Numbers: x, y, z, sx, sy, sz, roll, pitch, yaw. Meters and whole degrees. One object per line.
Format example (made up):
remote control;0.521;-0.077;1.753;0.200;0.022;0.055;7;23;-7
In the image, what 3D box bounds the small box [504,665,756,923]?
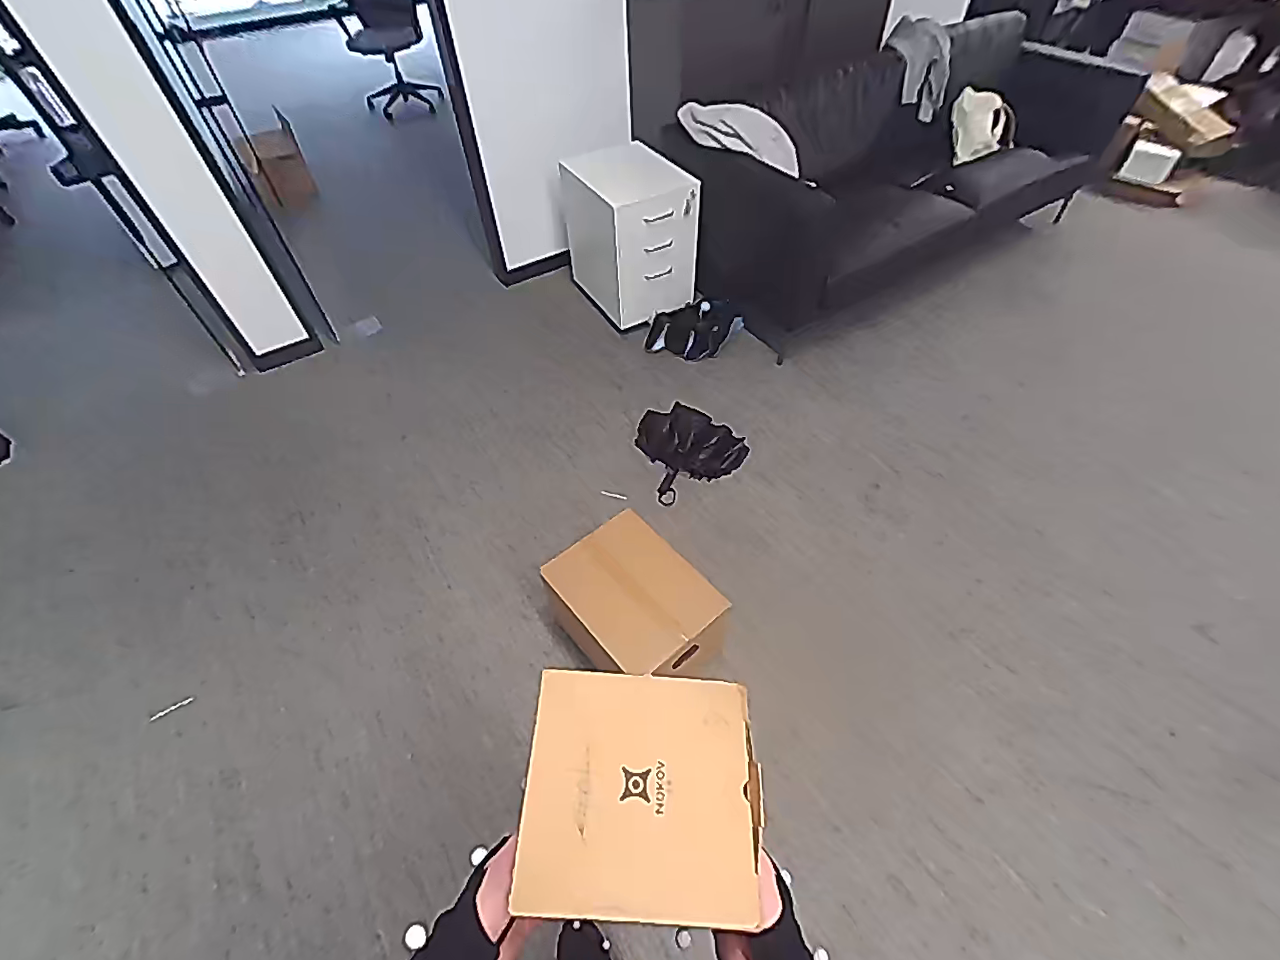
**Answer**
small box;-0.007;0.277;0.479;0.179;0.176;0.168;4;53;-1
